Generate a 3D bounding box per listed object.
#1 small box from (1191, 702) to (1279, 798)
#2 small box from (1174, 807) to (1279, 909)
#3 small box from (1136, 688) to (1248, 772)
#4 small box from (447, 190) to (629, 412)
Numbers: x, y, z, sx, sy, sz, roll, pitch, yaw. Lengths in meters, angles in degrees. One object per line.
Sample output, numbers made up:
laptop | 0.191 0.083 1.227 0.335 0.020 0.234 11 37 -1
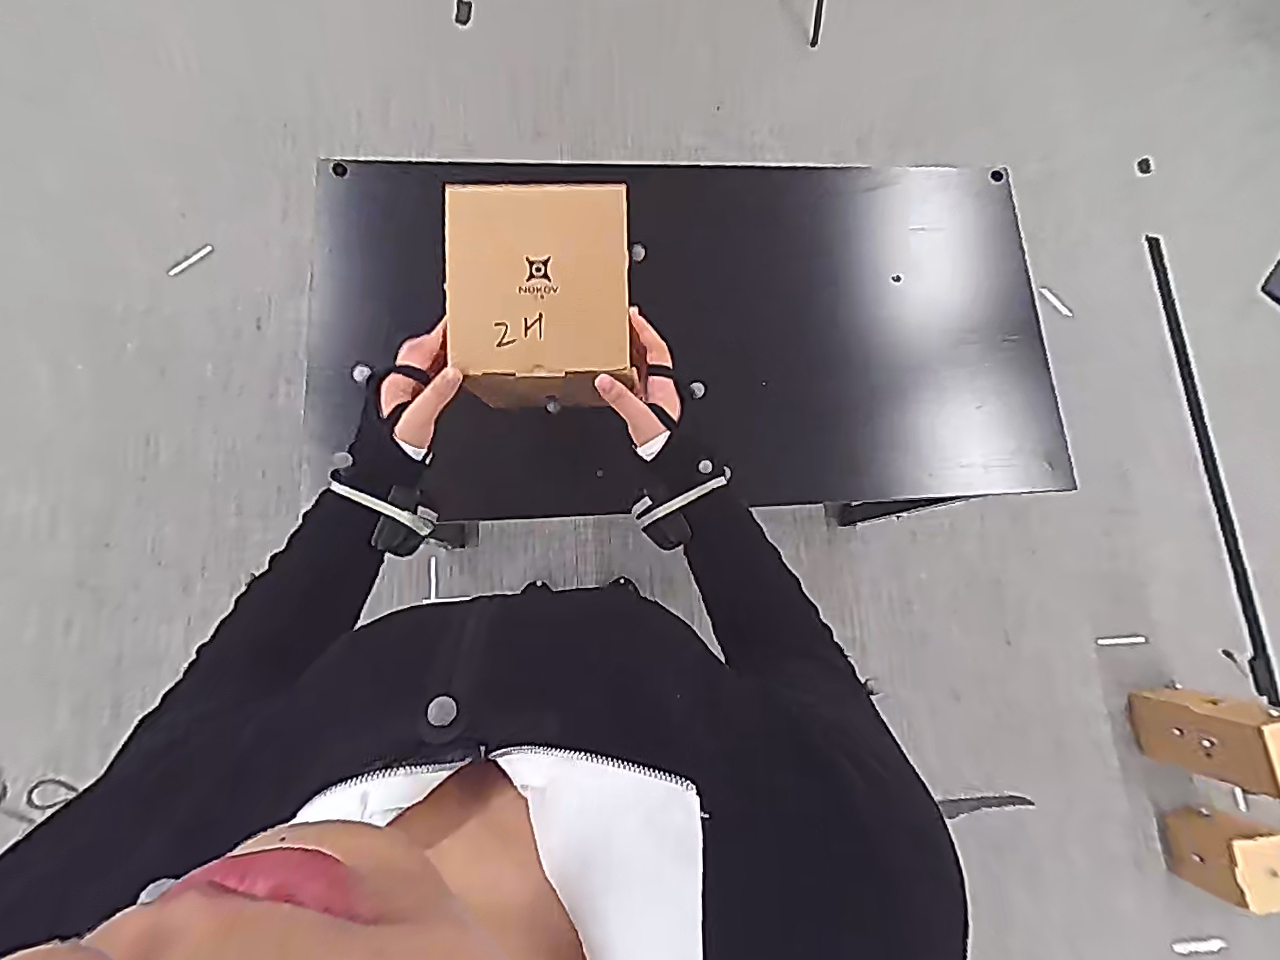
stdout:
small box | 1.527 0.650 1.318 0.179 0.176 0.168 -6 78 -4
small box | 1.570 0.988 1.425 0.179 0.176 0.168 -2 79 -4
small box | 1.517 0.676 1.477 0.168 0.176 0.179 -4 80 -5
small box | -0.097 -0.177 0.577 0.168 0.176 0.179 -2 86 -1
